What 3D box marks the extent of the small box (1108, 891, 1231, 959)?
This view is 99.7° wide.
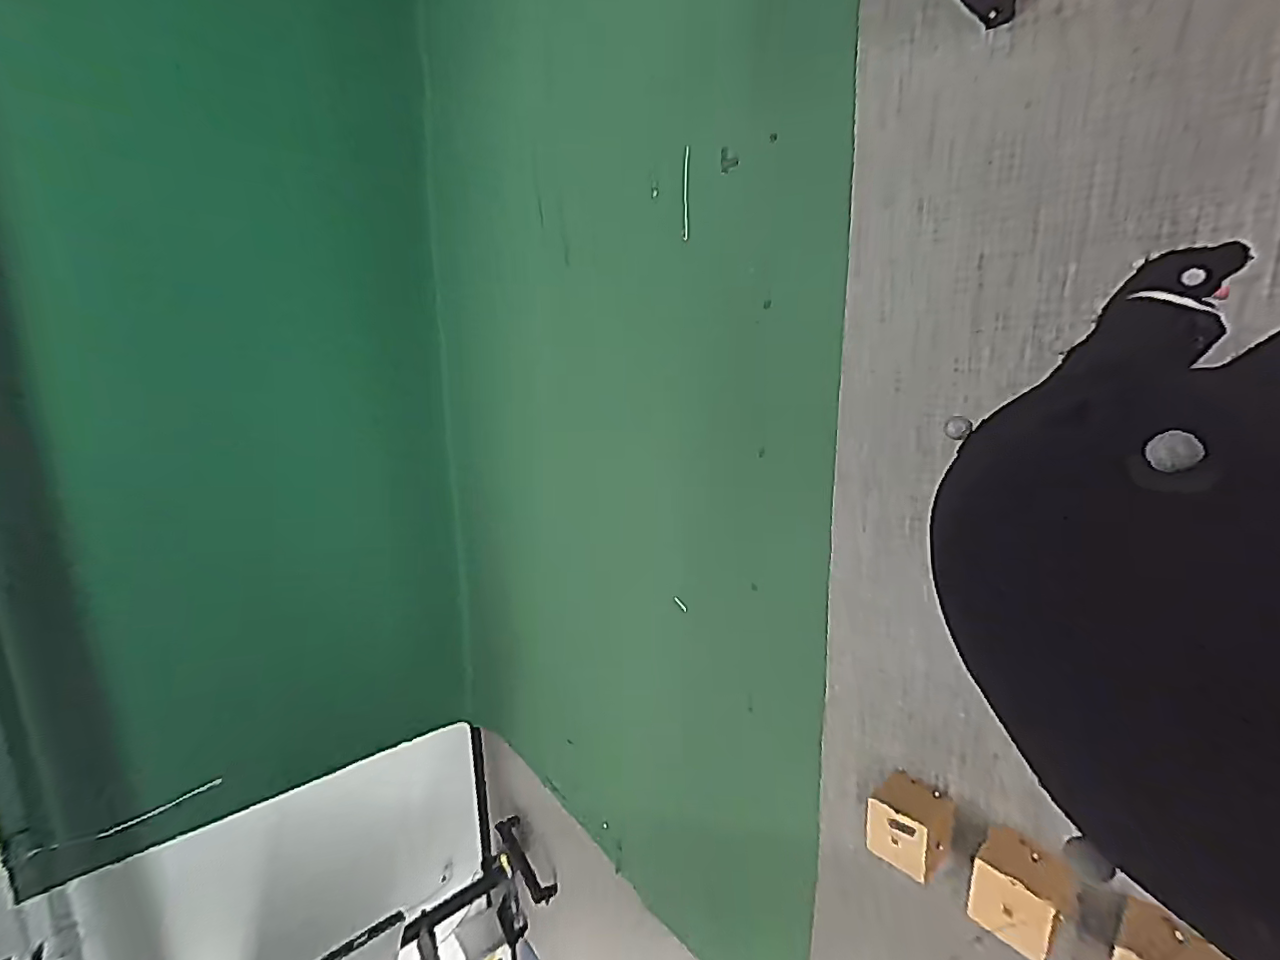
[{"bbox_3d":[1.111,1.038,1.141,0.168,0.176,0.179,11,106,49],"label":"small box"}]

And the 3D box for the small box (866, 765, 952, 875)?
[{"bbox_3d":[0.774,0.963,1.552,0.168,0.176,0.179,10,105,50],"label":"small box"}]

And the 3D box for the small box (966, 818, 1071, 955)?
[{"bbox_3d":[0.944,1.001,1.347,0.168,0.176,0.179,15,108,50],"label":"small box"}]
